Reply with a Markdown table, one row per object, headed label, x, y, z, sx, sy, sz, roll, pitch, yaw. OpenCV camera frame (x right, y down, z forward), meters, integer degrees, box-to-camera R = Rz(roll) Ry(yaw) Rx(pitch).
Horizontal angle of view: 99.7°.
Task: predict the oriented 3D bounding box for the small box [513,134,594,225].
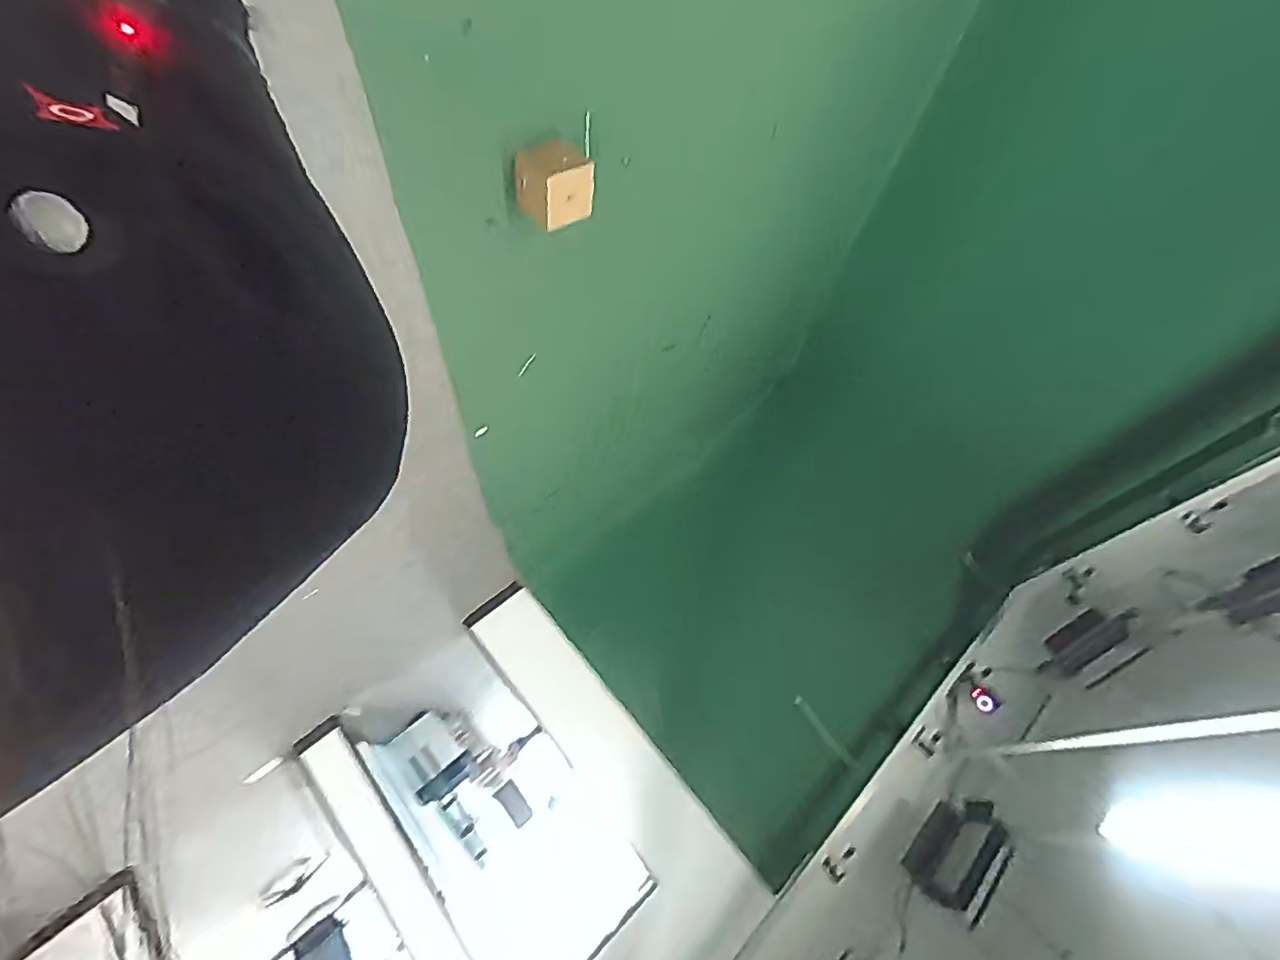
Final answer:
| label | x | y | z | sx | sy | sz | roll | pitch | yaw |
| --- | --- | --- | --- | --- | --- | --- | --- | --- | --- |
| small box | -0.264 | -0.921 | 1.648 | 0.179 | 0.176 | 0.168 | -34 | 158 | -25 |
